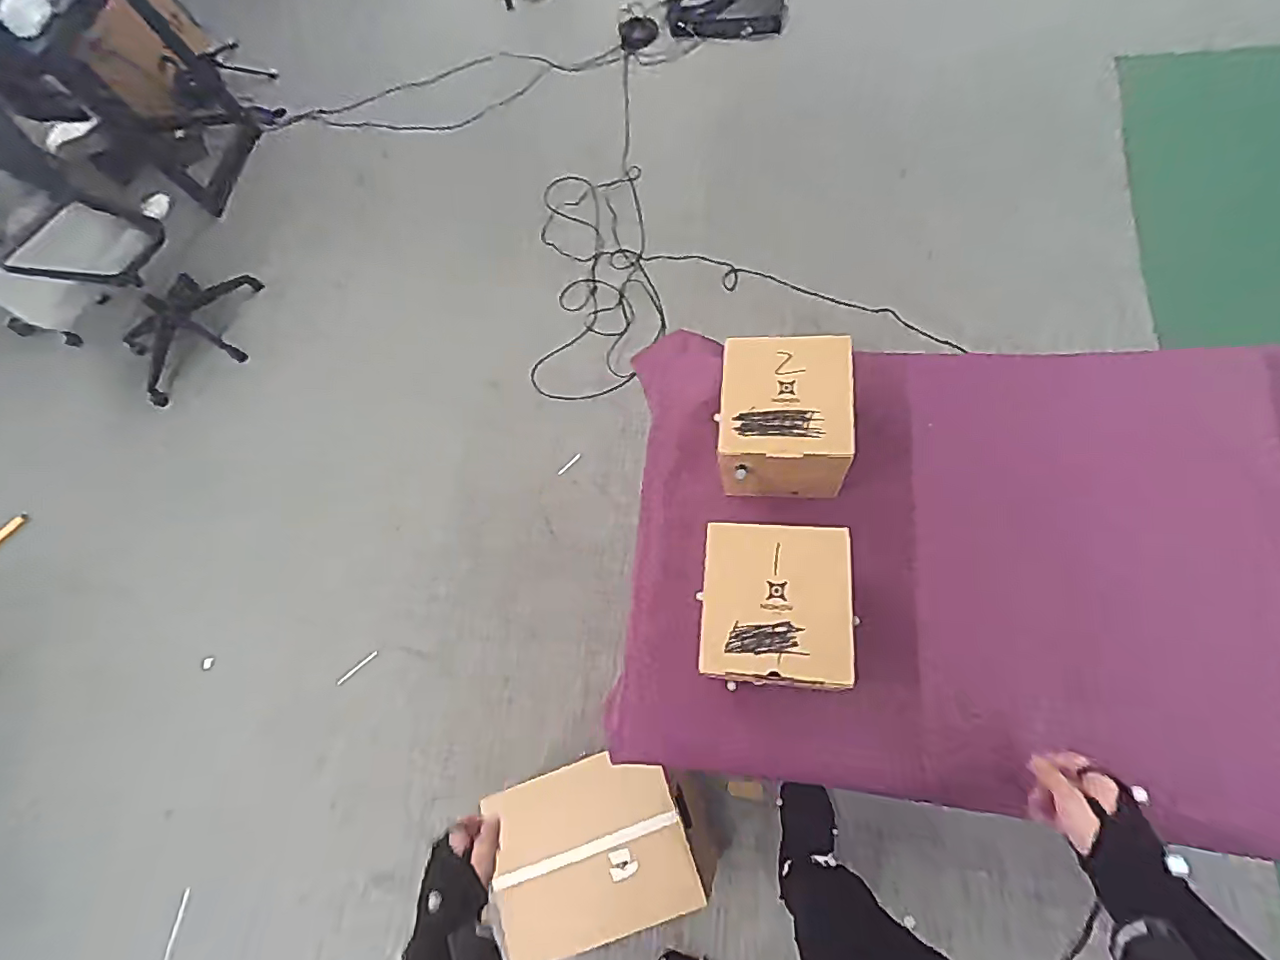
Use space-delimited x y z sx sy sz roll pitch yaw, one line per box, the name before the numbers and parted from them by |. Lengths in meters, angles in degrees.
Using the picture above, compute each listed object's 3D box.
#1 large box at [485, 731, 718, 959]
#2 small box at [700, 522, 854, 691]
large box | -0.072 0.793 1.211 0.408 0.320 0.320 -22 66 2
small box | 0.172 0.165 0.684 0.168 0.176 0.179 2 67 13
